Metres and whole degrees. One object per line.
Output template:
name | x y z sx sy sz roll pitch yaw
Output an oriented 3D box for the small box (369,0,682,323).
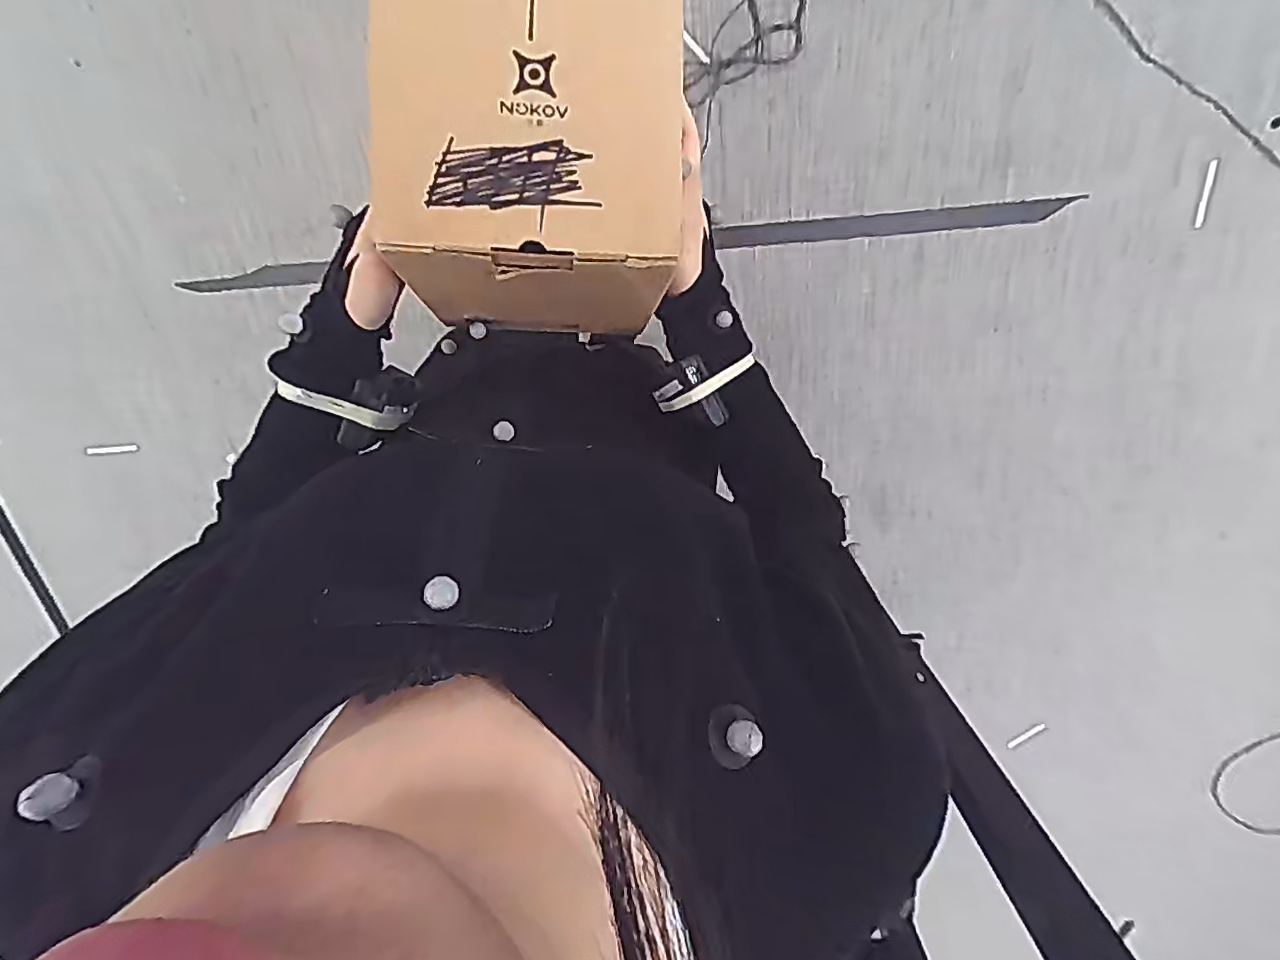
small box | -0.068 -0.214 0.369 0.168 0.176 0.179 0 91 -7
